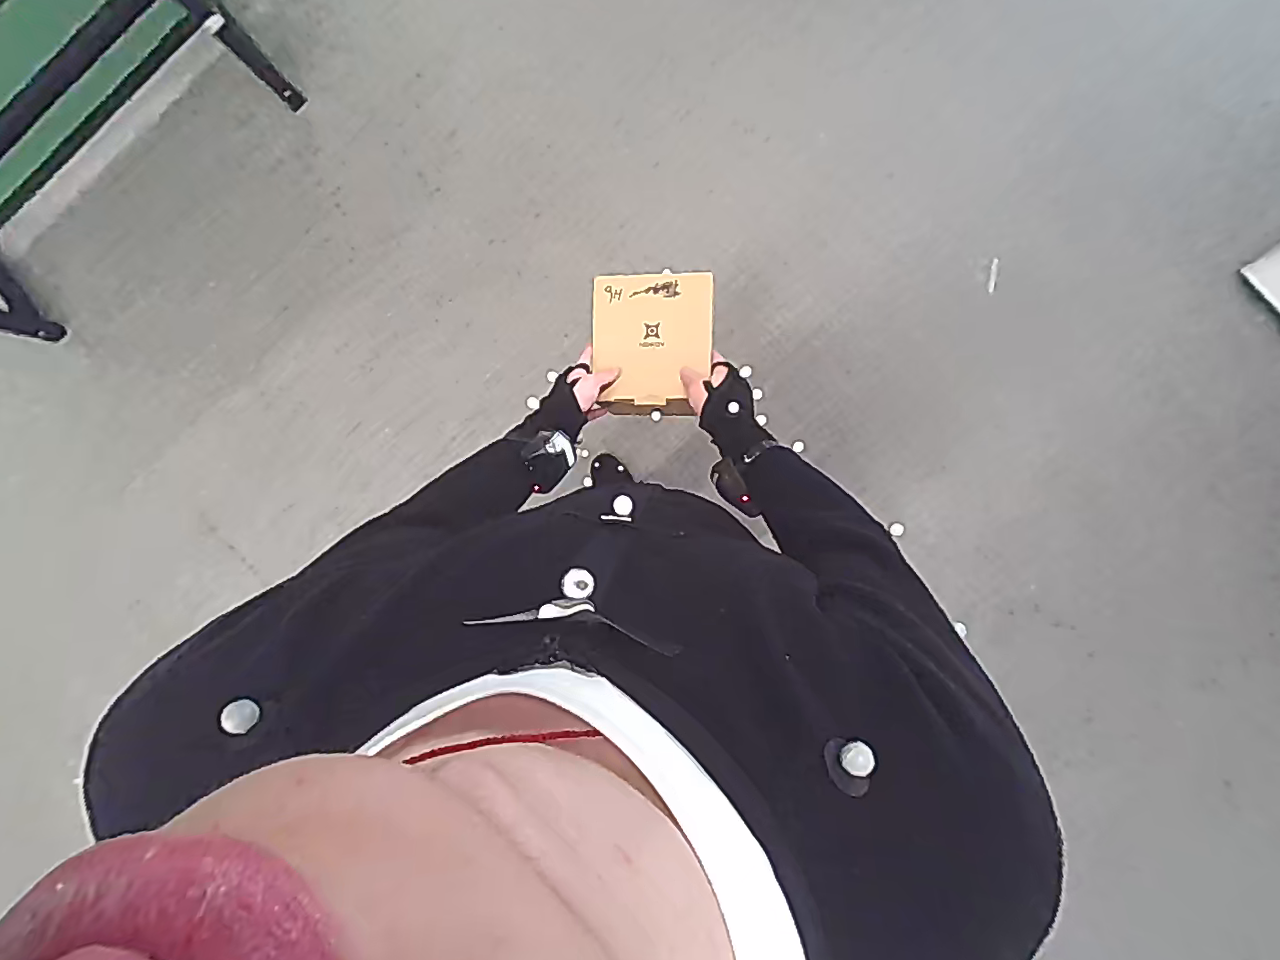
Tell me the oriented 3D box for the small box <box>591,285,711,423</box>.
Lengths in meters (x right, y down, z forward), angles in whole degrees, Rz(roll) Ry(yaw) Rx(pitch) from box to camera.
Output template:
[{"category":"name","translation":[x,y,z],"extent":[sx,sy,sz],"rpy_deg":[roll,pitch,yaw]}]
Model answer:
[{"category":"small box","translation":[0.024,-0.183,0.843],"extent":[0.168,0.176,0.179],"rpy_deg":[-2,89,8]}]
